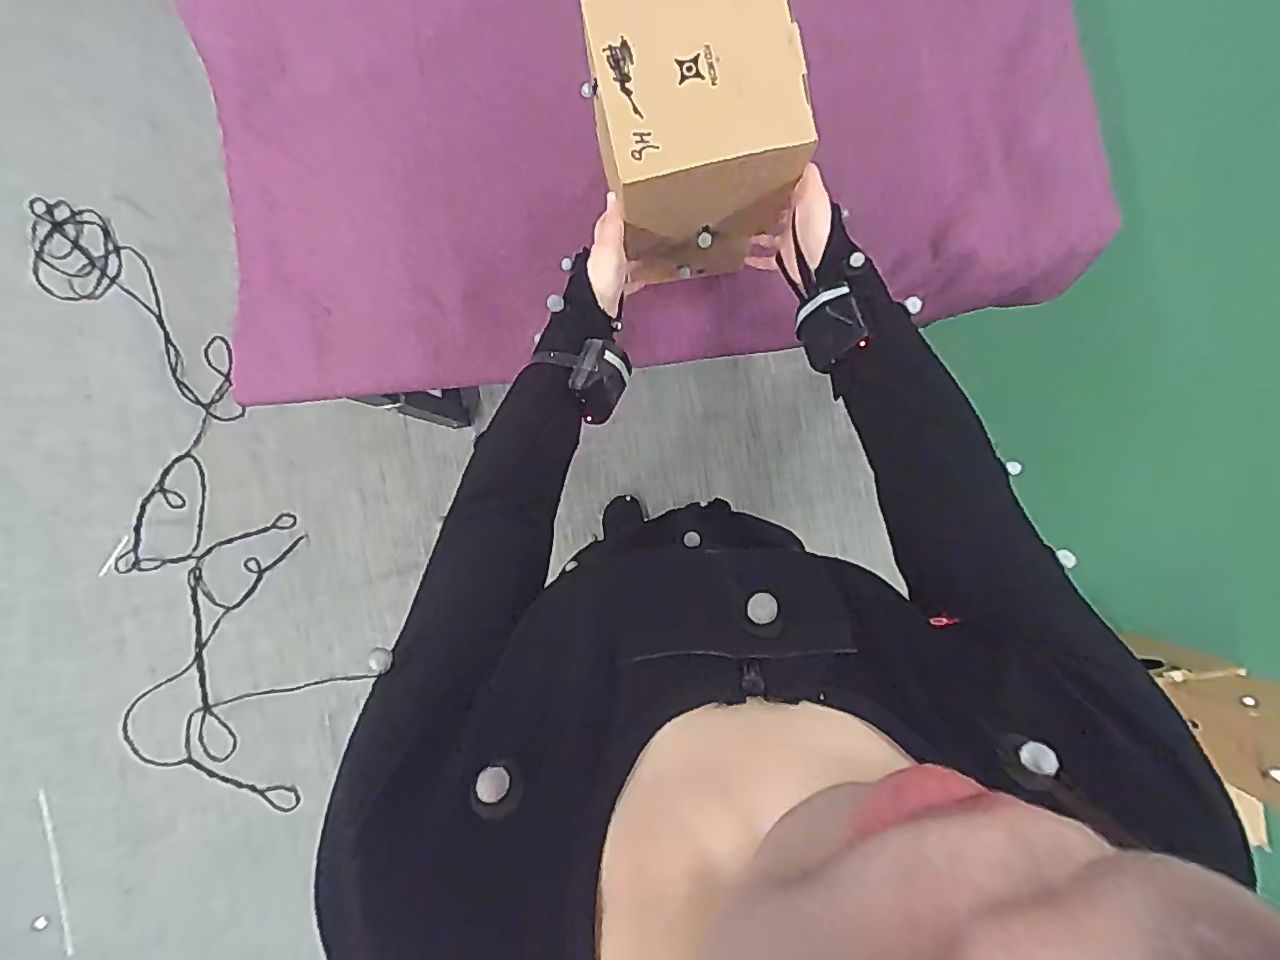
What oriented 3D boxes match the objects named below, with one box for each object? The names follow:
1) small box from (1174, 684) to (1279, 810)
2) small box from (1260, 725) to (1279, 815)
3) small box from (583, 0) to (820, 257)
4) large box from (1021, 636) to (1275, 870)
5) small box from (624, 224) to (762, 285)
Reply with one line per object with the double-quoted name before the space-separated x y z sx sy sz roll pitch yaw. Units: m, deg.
"small box" 1.254 0.529 1.095 0.179 0.176 0.168 -7 90 0
"small box" 1.251 0.530 0.930 0.179 0.176 0.168 -8 90 1
"small box" 0.050 -0.345 0.530 0.179 0.176 0.168 -12 89 0
"large box" 1.219 0.642 1.336 0.320 0.320 0.408 -7 90 1
"small box" 0.054 -0.376 0.698 0.168 0.176 0.179 -8 90 1
